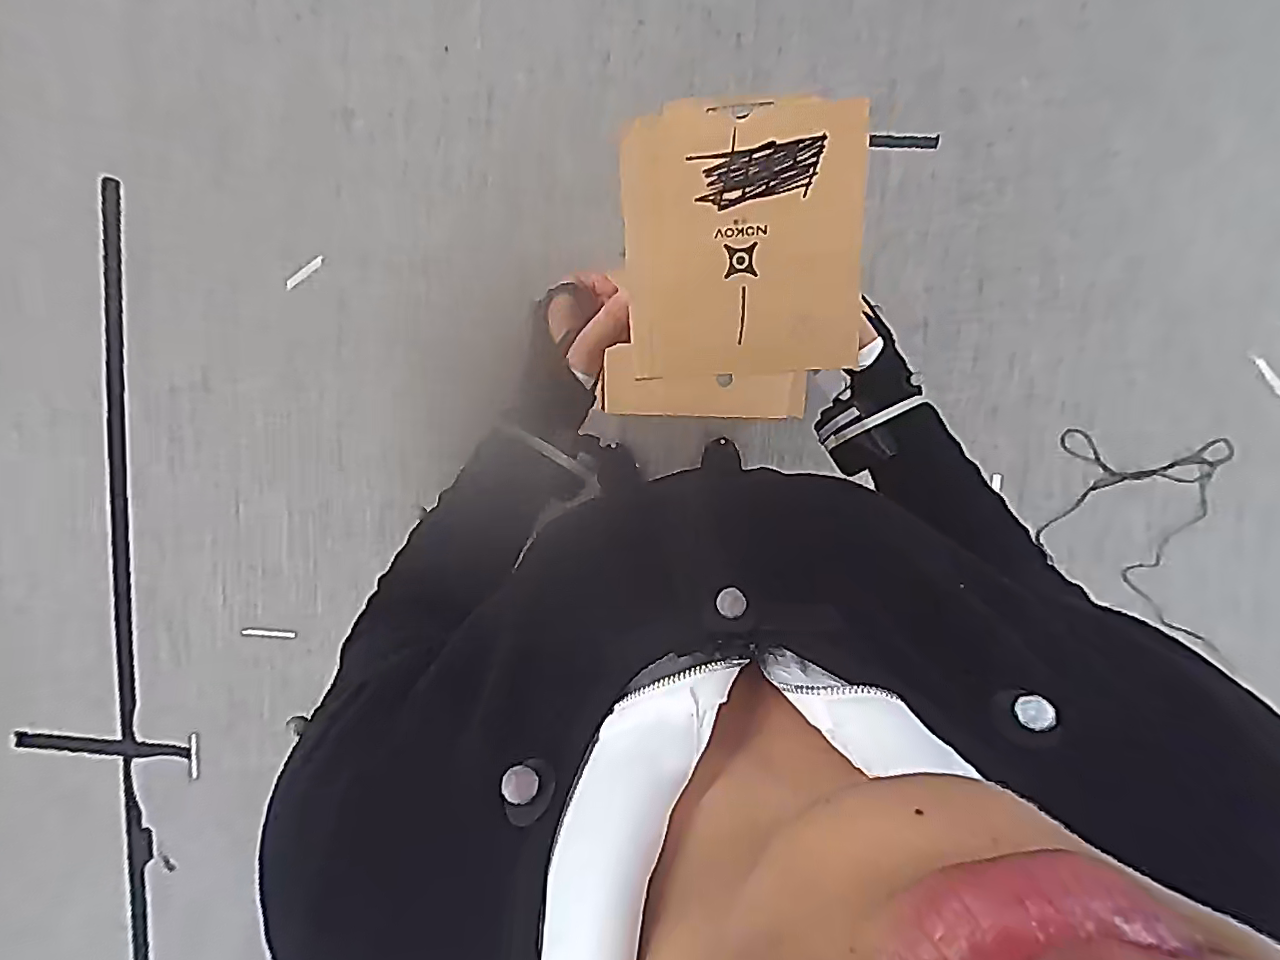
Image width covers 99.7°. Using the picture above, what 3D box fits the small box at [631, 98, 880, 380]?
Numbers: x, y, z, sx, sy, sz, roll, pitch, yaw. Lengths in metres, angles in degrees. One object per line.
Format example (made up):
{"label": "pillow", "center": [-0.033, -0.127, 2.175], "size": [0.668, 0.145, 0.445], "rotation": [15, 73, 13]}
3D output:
{"label": "small box", "center": [0.081, -0.177, 0.448], "size": [0.168, 0.176, 0.179], "rotation": [-2, 104, 5]}
